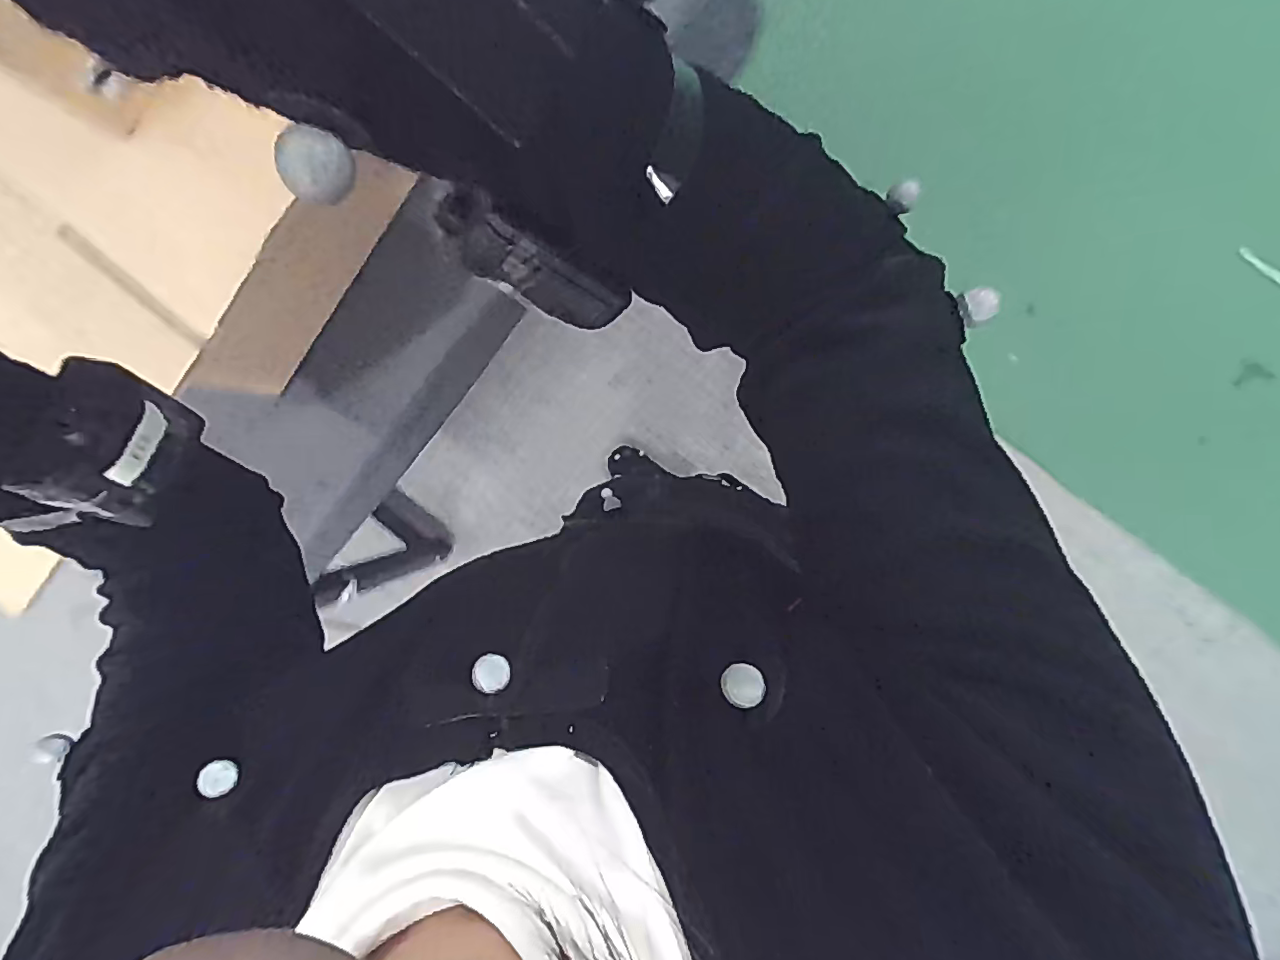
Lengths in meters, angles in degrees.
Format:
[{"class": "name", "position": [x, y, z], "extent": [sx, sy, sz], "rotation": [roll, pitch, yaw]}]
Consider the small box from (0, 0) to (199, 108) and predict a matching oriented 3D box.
[{"class": "small box", "position": [-0.432, -0.389, 0.345], "extent": [0.179, 0.176, 0.168], "rotation": [37, 93, 5]}]
